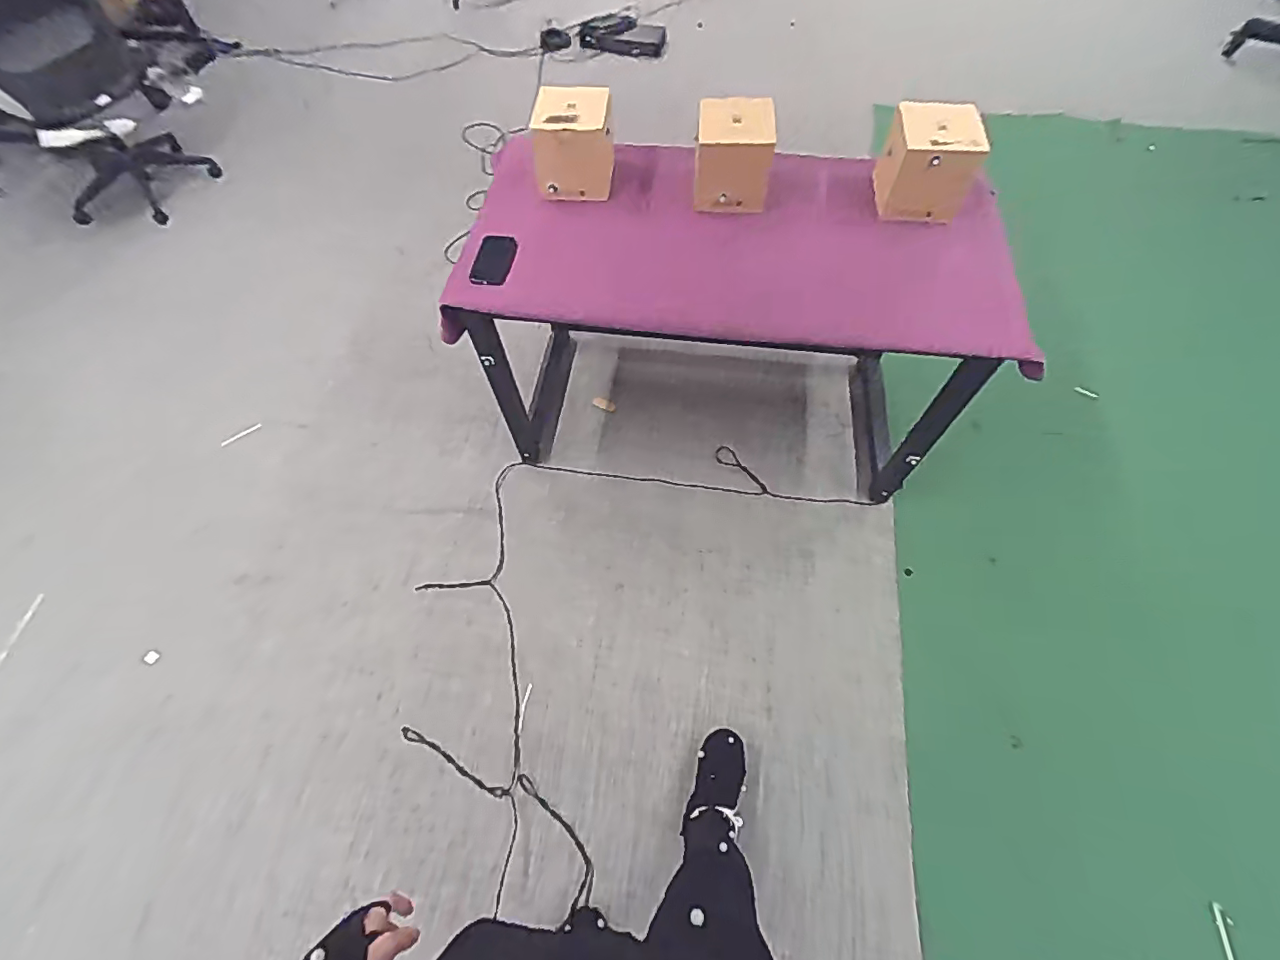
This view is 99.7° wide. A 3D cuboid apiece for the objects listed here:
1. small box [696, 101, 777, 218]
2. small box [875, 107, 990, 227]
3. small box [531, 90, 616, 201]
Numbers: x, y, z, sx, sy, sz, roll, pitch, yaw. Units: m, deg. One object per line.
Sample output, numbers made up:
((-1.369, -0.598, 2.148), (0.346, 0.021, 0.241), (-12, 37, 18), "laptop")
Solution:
((0.217, -0.739, 1.250), (0.168, 0.176, 0.179), (3, 62, 4), "small box")
((0.643, -0.701, 1.216), (0.168, 0.176, 0.179), (5, 61, 5), "small box")
((-0.149, -0.789, 1.285), (0.168, 0.176, 0.179), (4, 61, 3), "small box")
